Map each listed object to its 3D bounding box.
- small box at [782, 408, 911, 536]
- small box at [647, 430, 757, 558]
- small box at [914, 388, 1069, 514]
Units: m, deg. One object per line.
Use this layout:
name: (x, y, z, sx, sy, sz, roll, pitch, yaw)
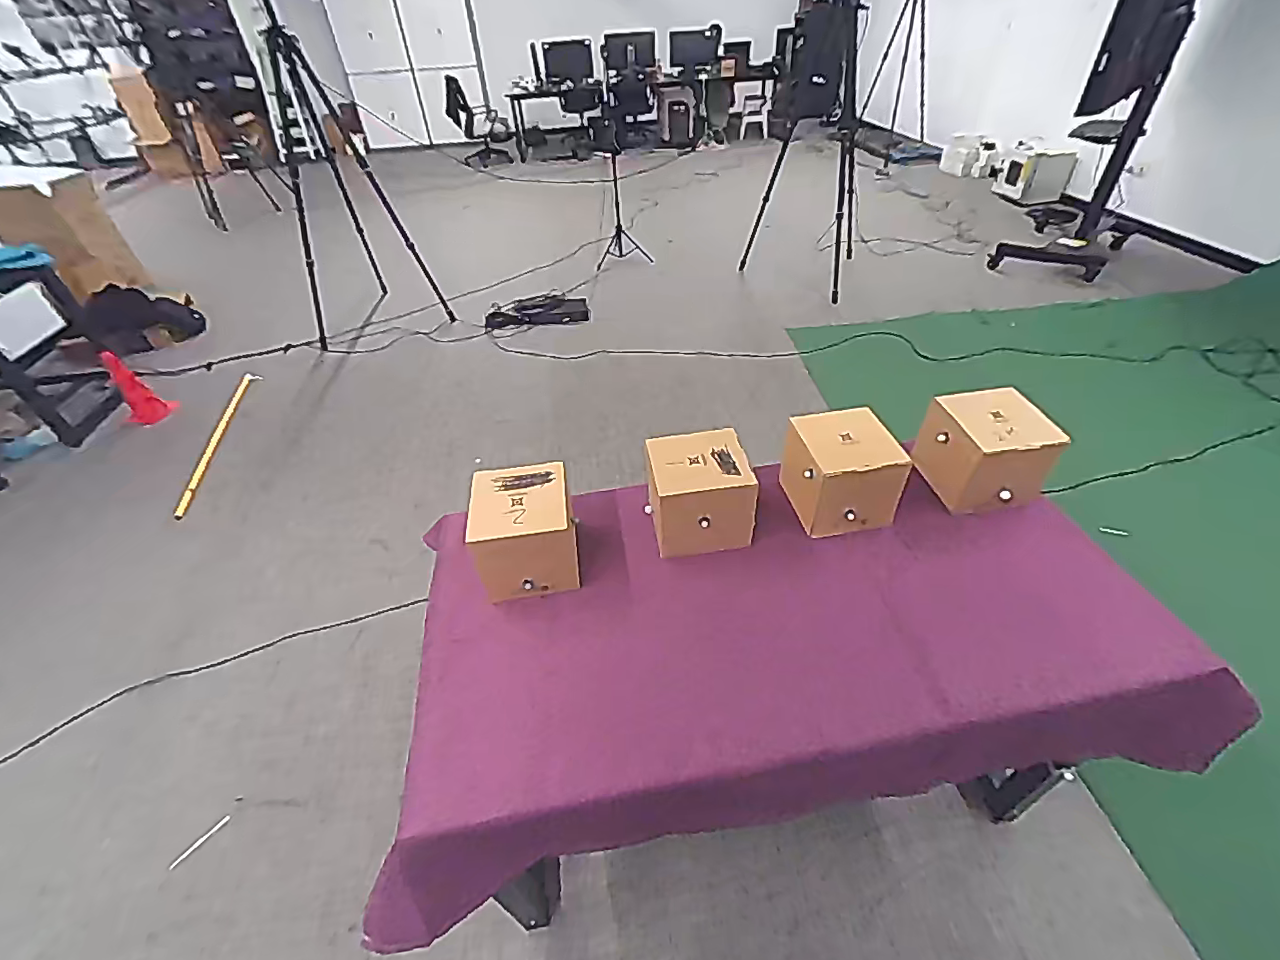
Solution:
small box: (0.389, -0.015, 1.058, 0.168, 0.176, 0.179, -9, 43, -4)
small box: (0.112, 0.029, 1.033, 0.179, 0.176, 0.168, -8, 42, -3)
small box: (0.675, -0.058, 1.068, 0.168, 0.176, 0.179, -8, 44, -2)
